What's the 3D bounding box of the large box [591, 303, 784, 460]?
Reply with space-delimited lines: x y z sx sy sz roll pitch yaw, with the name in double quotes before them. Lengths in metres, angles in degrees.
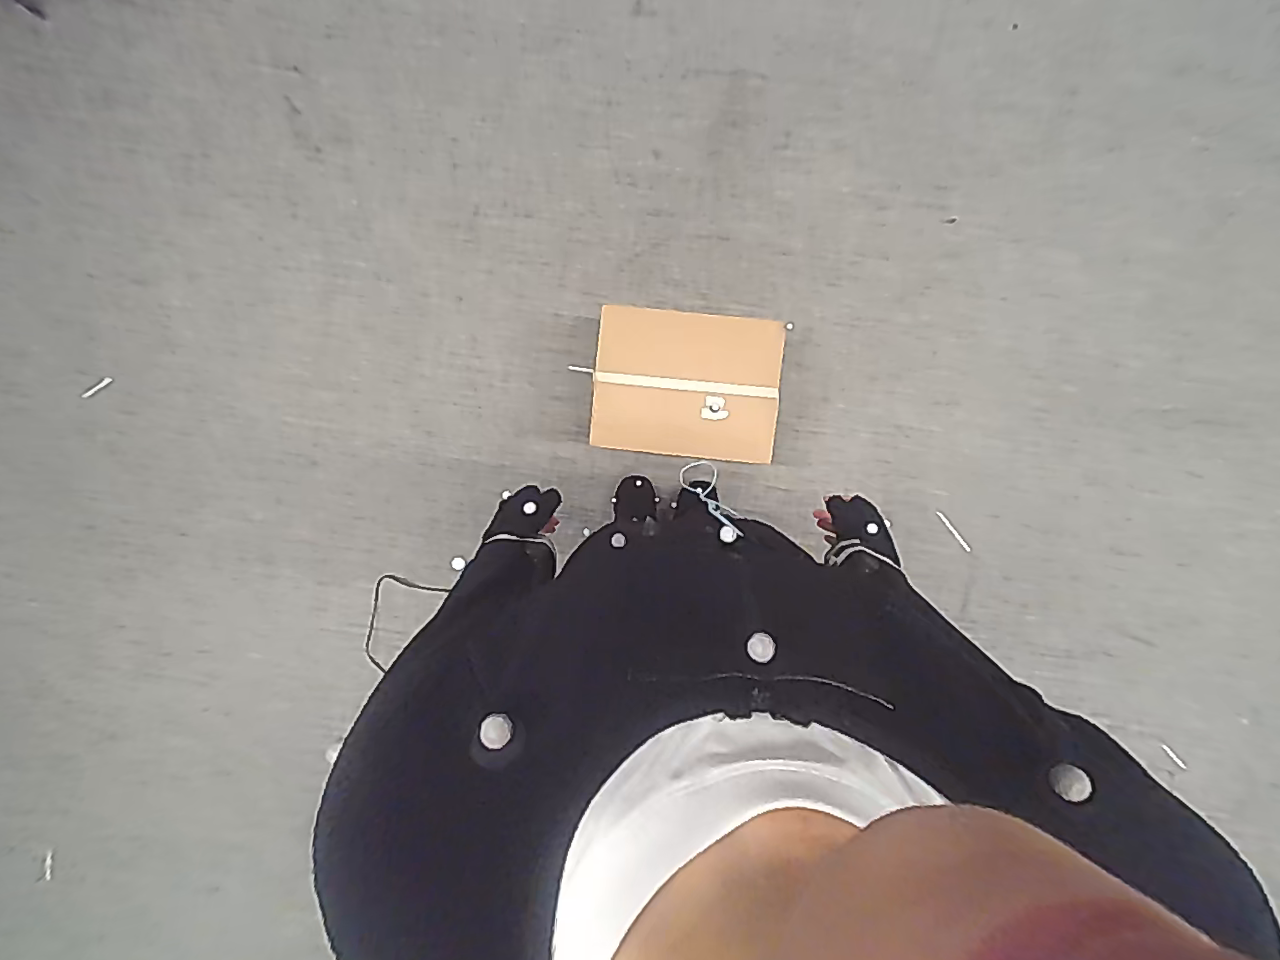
"large box" 0.102 -0.220 1.322 0.408 0.320 0.320 6 93 1
